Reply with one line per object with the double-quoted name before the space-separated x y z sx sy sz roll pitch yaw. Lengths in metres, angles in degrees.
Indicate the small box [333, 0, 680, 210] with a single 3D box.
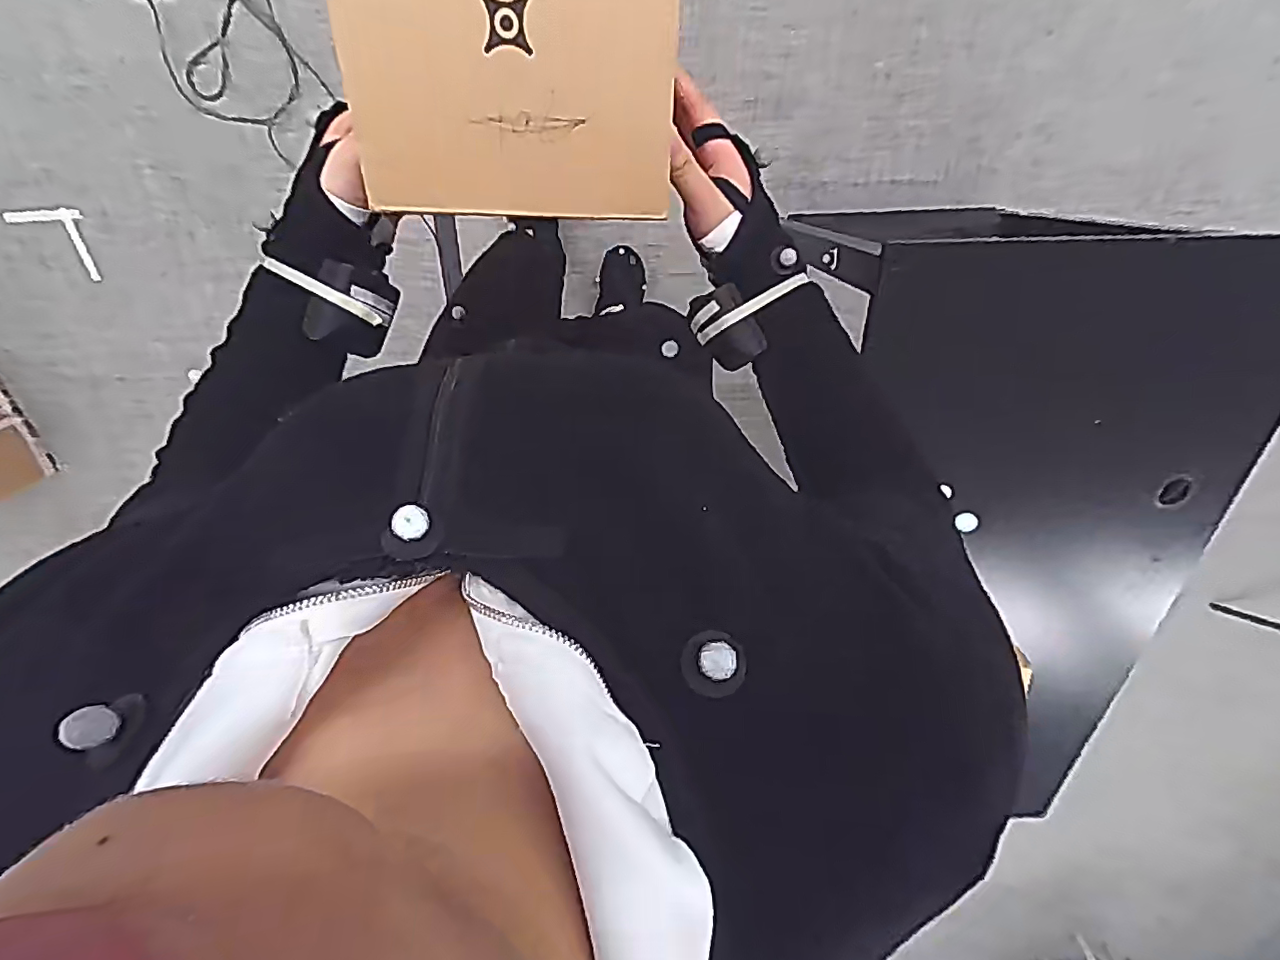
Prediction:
"small box" -0.067 -0.271 0.323 0.168 0.176 0.179 1 123 -3
